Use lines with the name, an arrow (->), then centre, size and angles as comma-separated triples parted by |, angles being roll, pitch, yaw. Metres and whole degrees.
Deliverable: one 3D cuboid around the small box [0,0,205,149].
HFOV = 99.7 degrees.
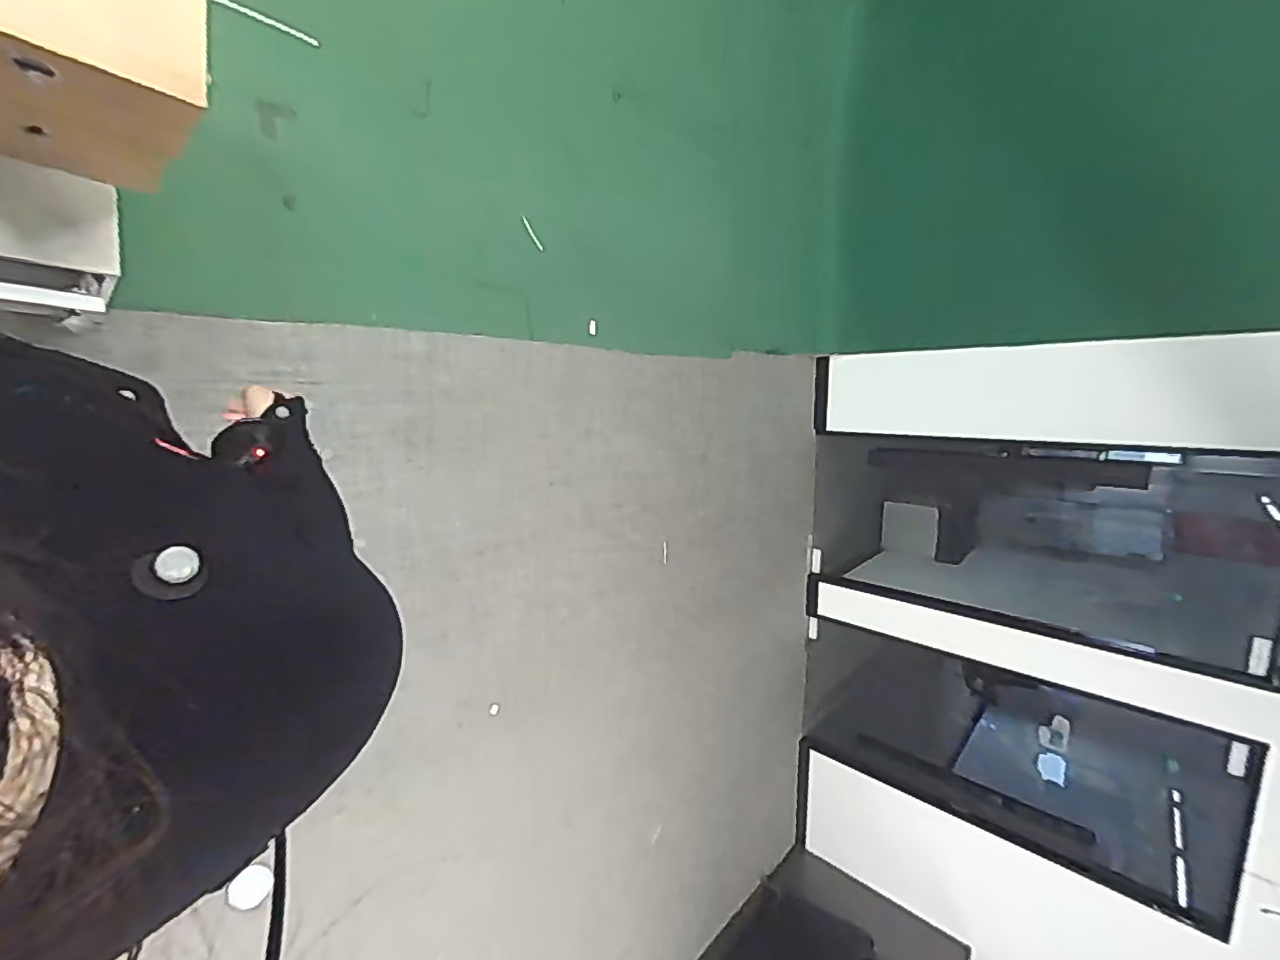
small box -> -0.472, -0.400, 0.433 | 0.179, 0.176, 0.168 | -1, 98, -47
